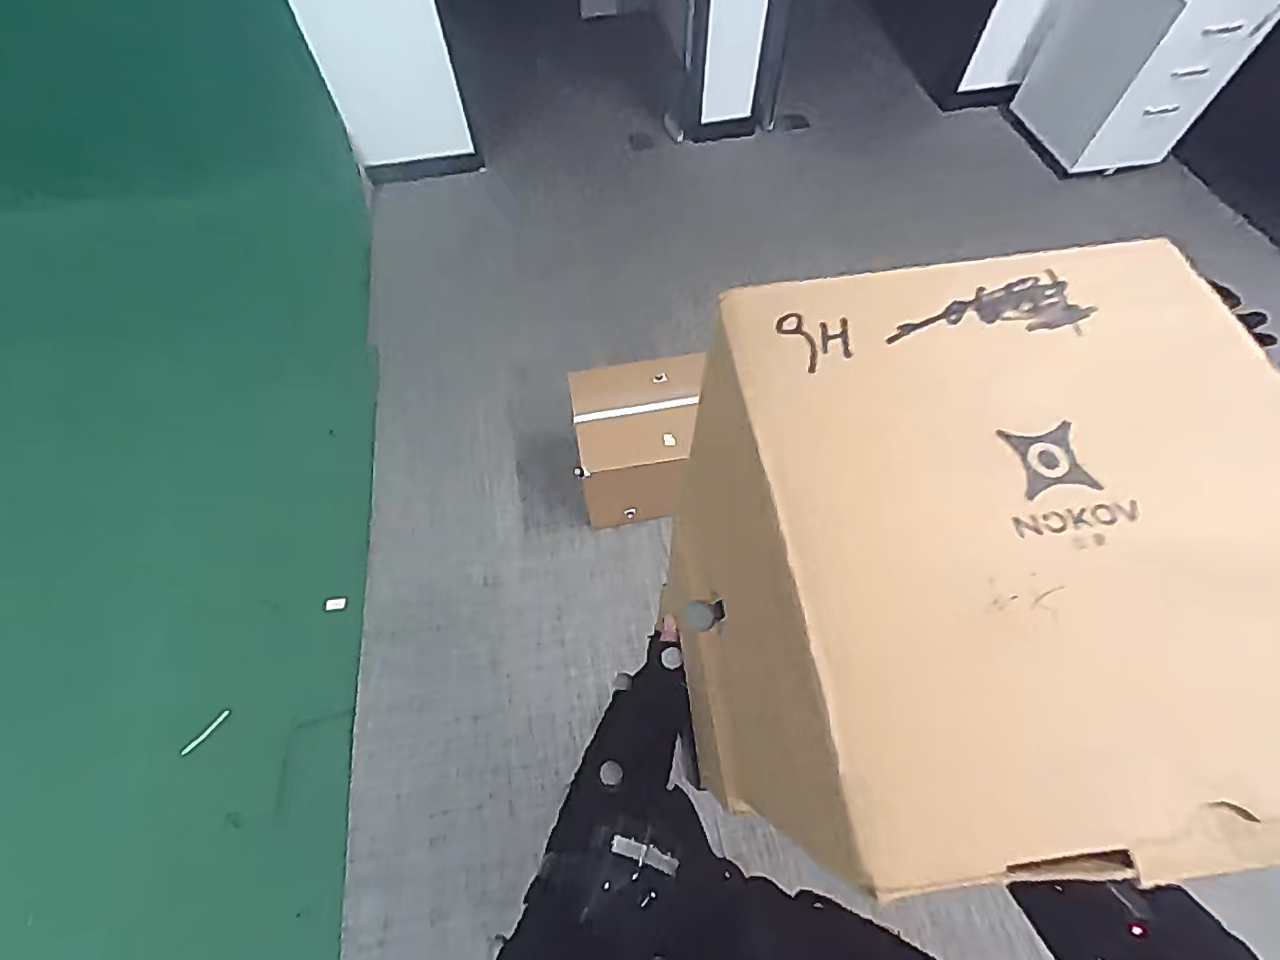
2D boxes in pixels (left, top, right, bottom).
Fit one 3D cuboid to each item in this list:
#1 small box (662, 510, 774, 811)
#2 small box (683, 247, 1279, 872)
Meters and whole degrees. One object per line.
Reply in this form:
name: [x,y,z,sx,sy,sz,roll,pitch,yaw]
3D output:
small box: [0.118,0.112,0.381,0.179,0.176,0.168,-10,66,-4]
small box: [0.115,0.035,0.237,0.168,0.176,0.179,-7,67,-2]
